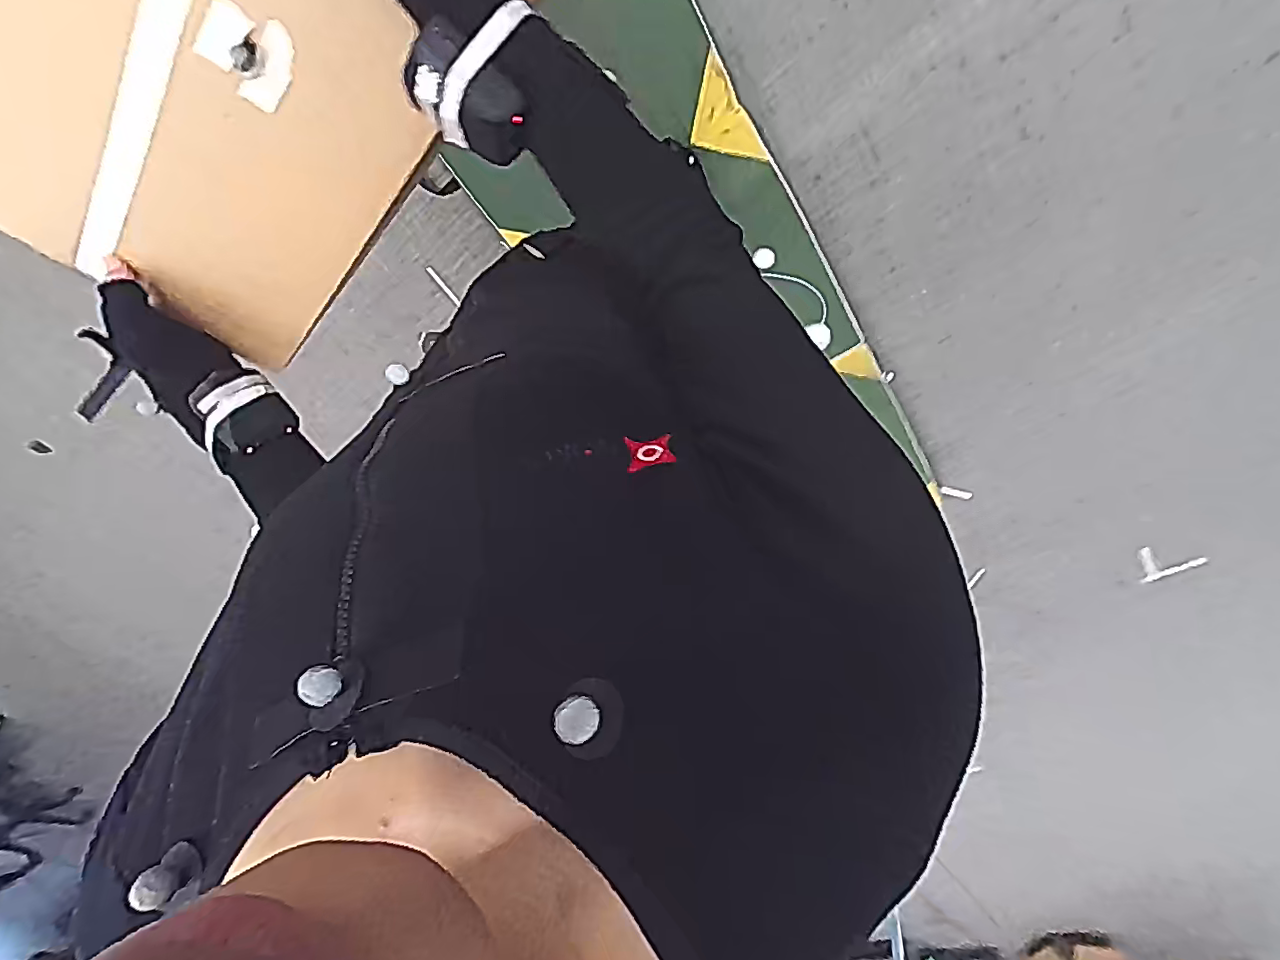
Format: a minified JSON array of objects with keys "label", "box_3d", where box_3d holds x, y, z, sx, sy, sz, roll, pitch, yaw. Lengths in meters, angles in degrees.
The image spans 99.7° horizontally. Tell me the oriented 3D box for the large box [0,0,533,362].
[{"label":"large box","box_3d":[-0.337,-0.397,0.485,0.320,0.320,0.408,33,127,-32]}]
